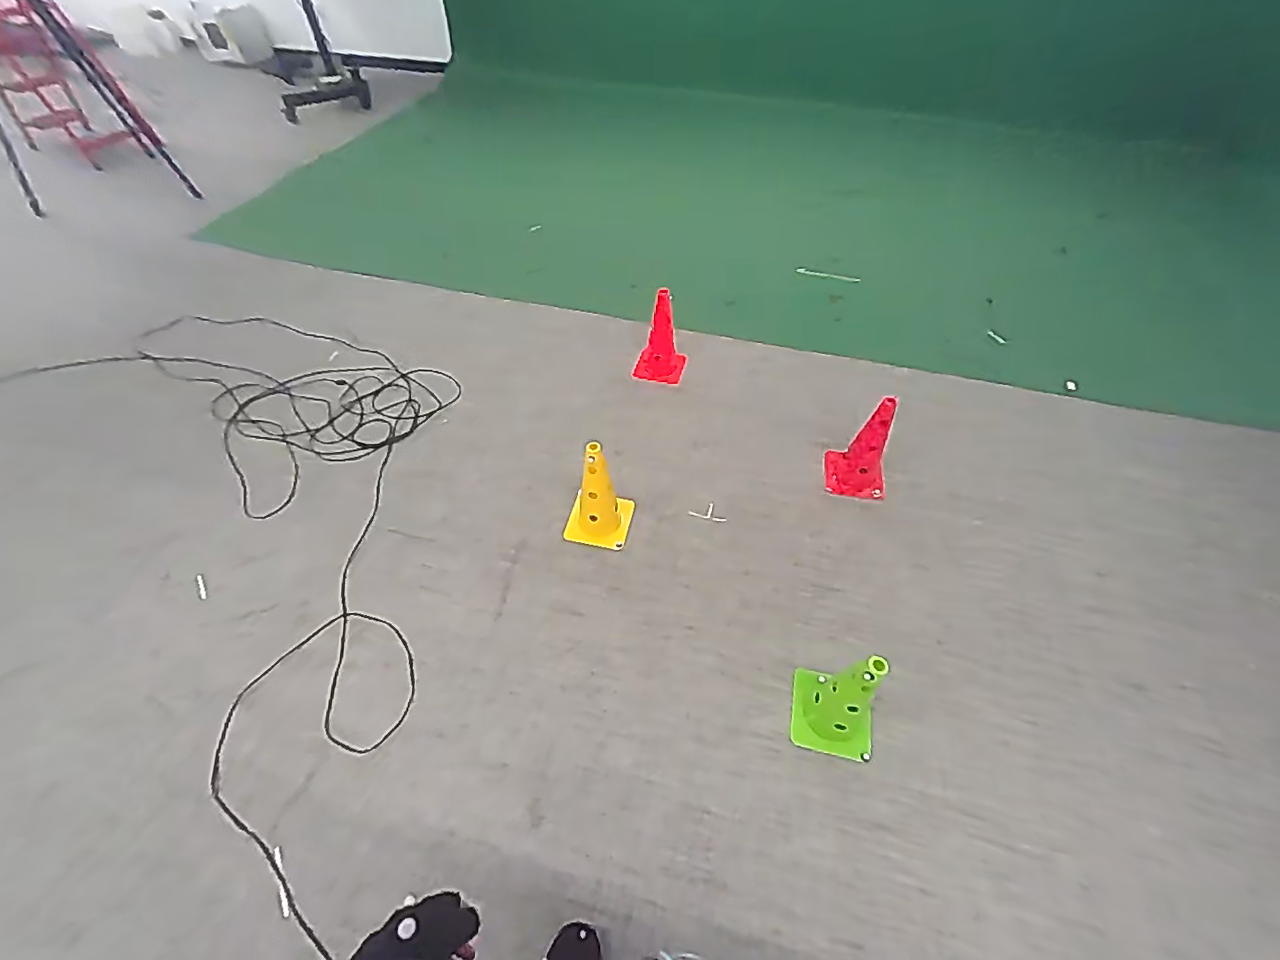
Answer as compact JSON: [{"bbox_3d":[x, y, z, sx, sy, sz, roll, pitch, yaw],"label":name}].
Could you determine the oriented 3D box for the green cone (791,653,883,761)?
[{"bbox_3d":[0.499,0.495,1.274,0.202,0.368,0.200,10,51,9],"label":"green cone"}]

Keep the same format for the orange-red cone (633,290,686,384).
[{"bbox_3d":[0.081,-0.586,2.152,0.198,0.360,0.199,12,53,10],"label":"orange-red cone"}]

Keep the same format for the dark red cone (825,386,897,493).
[{"bbox_3d":[0.755,-0.144,1.768,0.202,0.394,0.201,8,50,6],"label":"dark red cone"}]
